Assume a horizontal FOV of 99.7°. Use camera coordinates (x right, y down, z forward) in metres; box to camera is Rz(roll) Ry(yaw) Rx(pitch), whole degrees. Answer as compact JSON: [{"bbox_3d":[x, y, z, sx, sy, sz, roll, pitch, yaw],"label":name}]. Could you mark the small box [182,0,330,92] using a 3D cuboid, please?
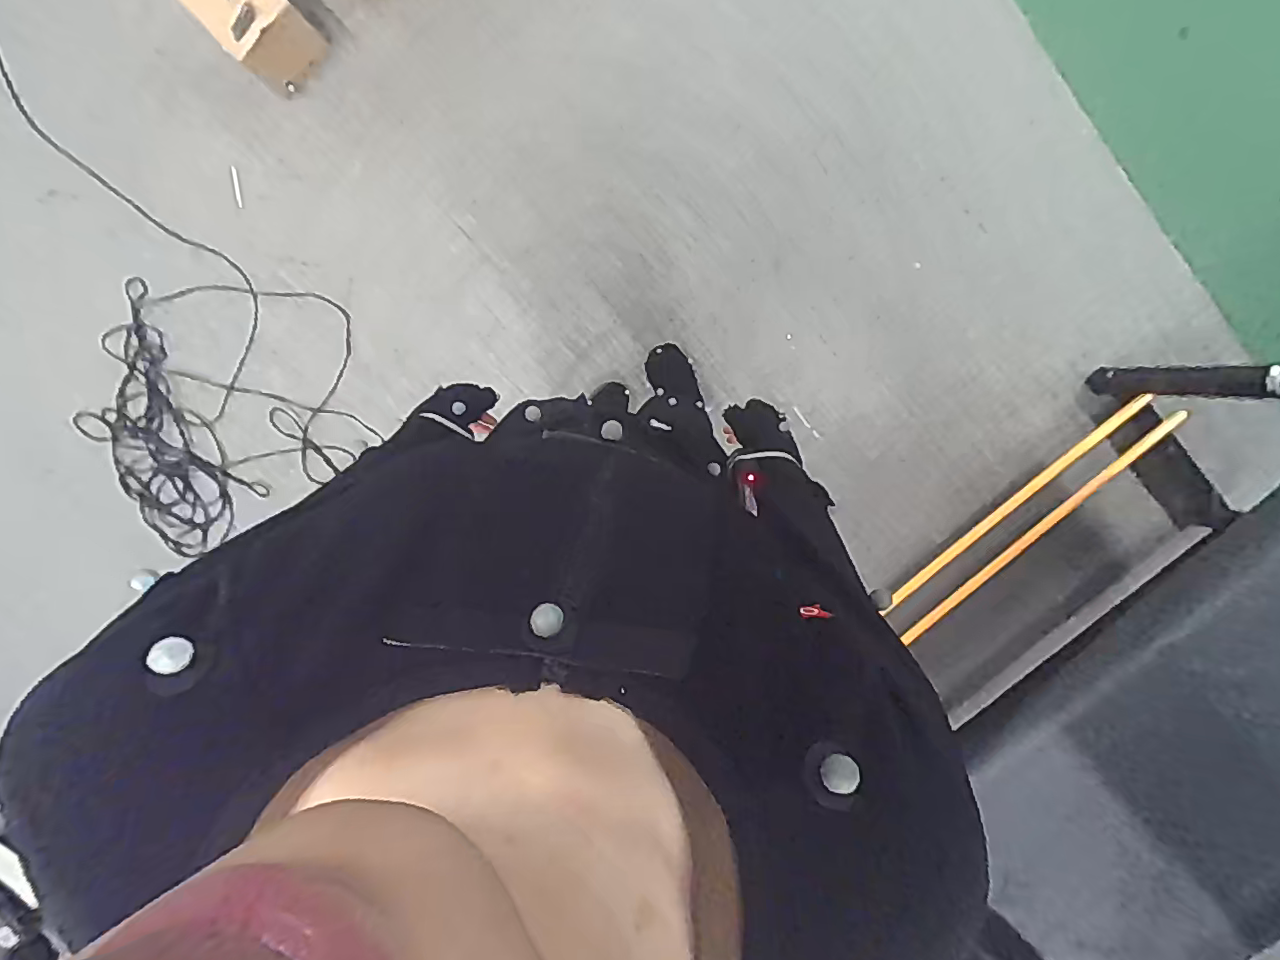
[{"bbox_3d":[-0.834,-1.003,1.189,0.168,0.176,0.179,-42,98,6],"label":"small box"}]
